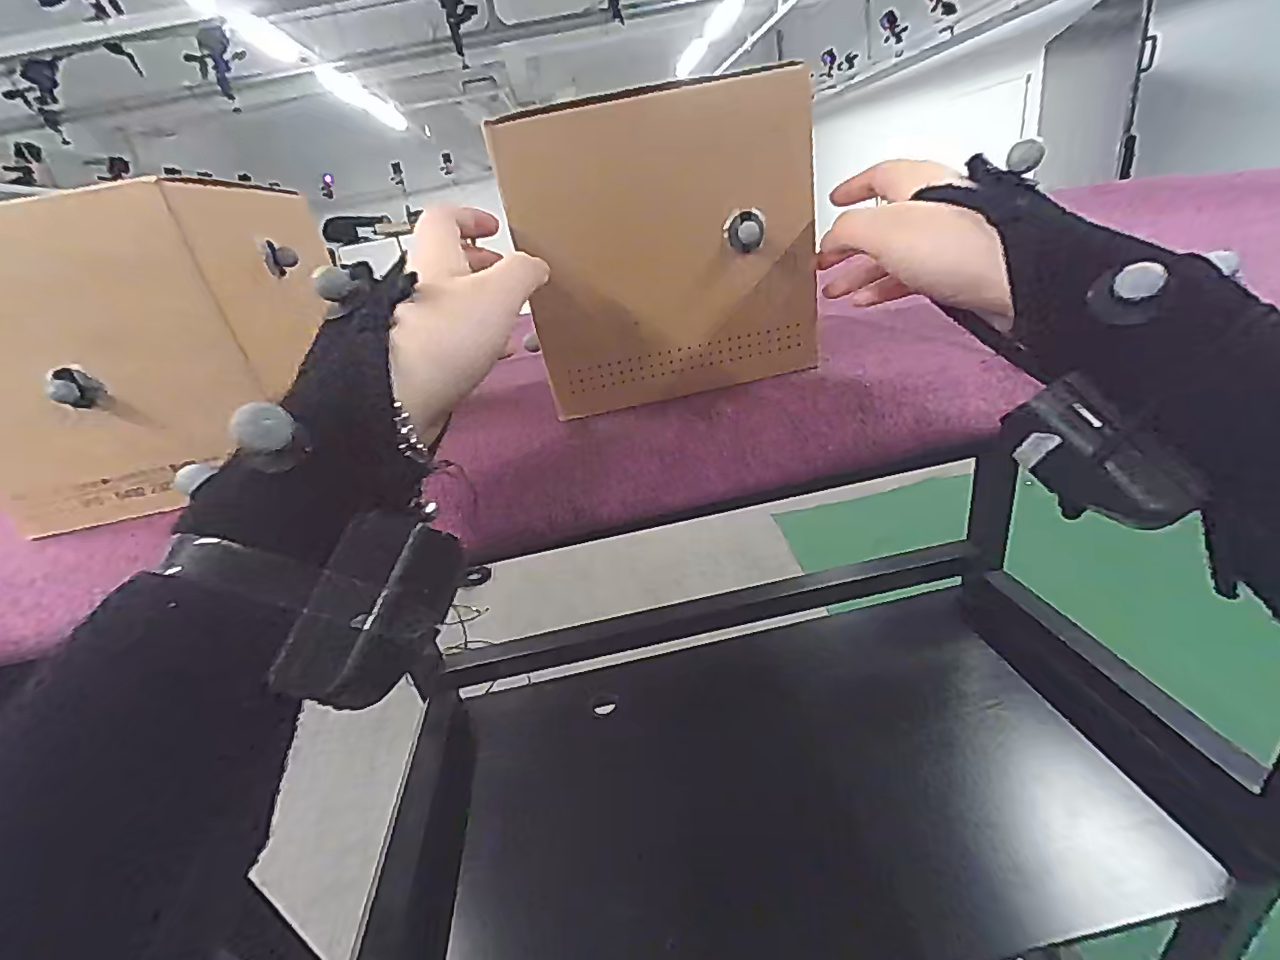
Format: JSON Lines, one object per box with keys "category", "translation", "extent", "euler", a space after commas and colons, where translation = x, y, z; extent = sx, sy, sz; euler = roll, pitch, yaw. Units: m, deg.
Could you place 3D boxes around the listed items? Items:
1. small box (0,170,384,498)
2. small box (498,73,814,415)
{"category": "small box", "translation": [-0.302, -0.097, 0.371], "extent": [0.168, 0.176, 0.179], "euler": [-11, 26, -4]}
{"category": "small box", "translation": [0.012, -0.163, 0.394], "extent": [0.179, 0.176, 0.168], "euler": [-13, 25, -3]}
